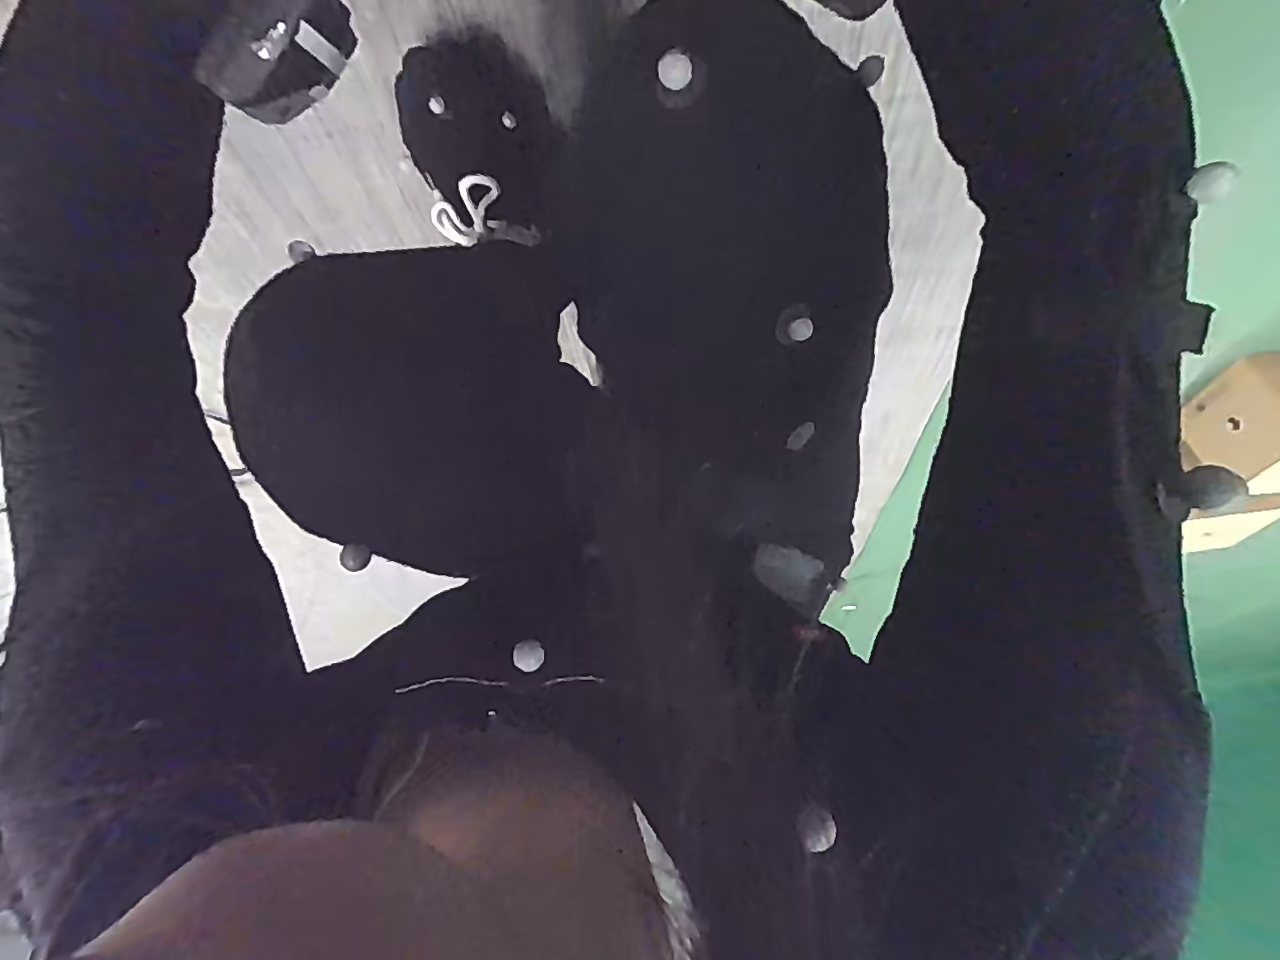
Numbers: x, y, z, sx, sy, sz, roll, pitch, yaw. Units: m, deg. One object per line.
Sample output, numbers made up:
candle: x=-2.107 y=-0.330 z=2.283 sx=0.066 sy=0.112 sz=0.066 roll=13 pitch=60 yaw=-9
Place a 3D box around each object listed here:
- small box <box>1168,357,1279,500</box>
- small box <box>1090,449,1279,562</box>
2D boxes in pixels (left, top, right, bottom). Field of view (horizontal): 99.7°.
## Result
small box: x=1.036 y=-0.087 z=0.875 sx=0.179 sy=0.176 sz=0.168 roll=-7 pitch=147 yaw=4
small box: x=1.071 y=0.044 z=1.082 sx=0.179 sy=0.176 sz=0.168 roll=-9 pitch=146 yaw=7
